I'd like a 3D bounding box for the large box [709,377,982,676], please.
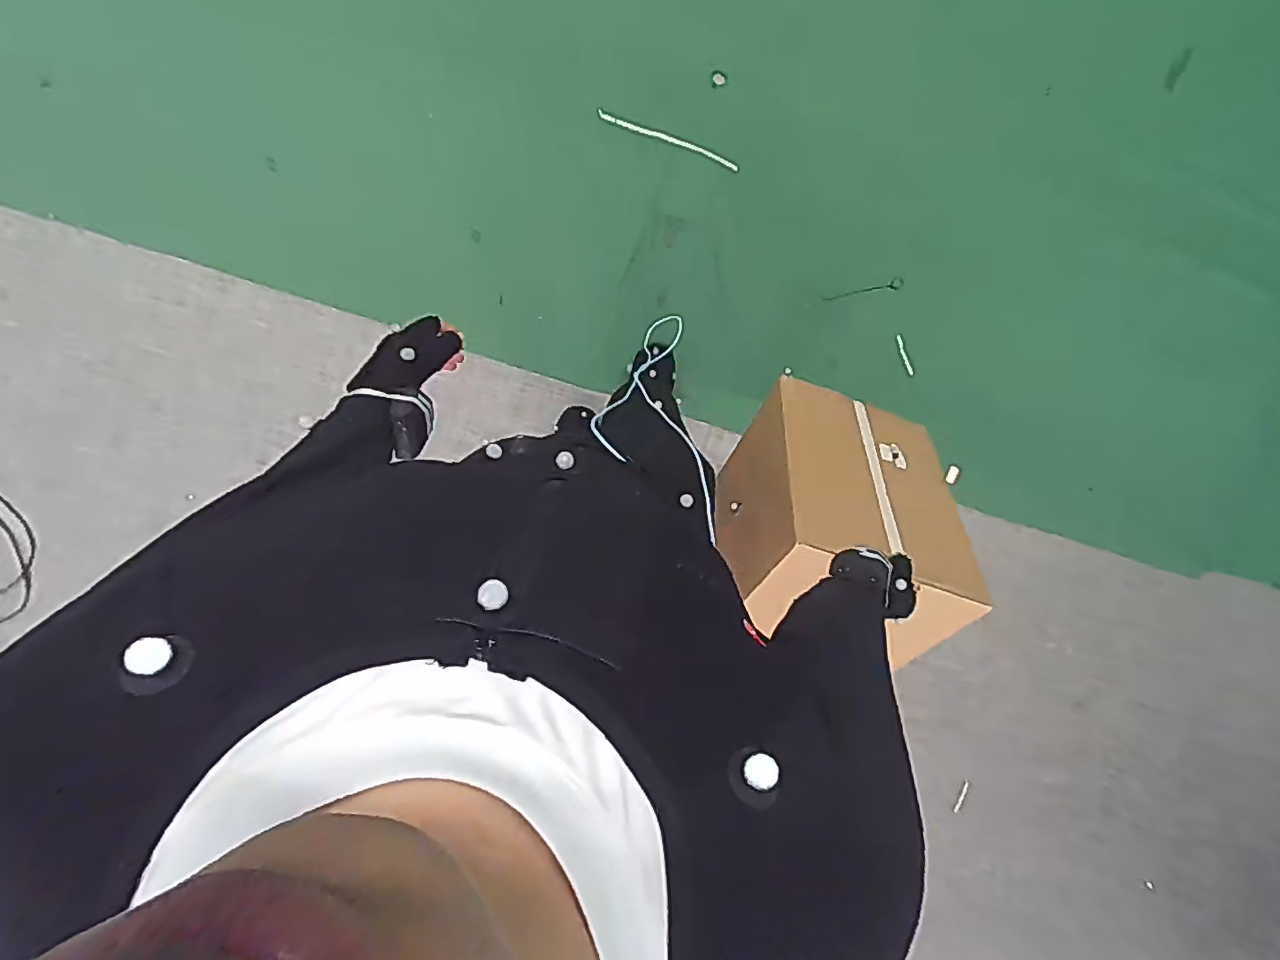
[{"bbox_3d":[0.329,0.086,0.998,0.320,0.408,0.320,19,134,-9],"label":"large box"}]
